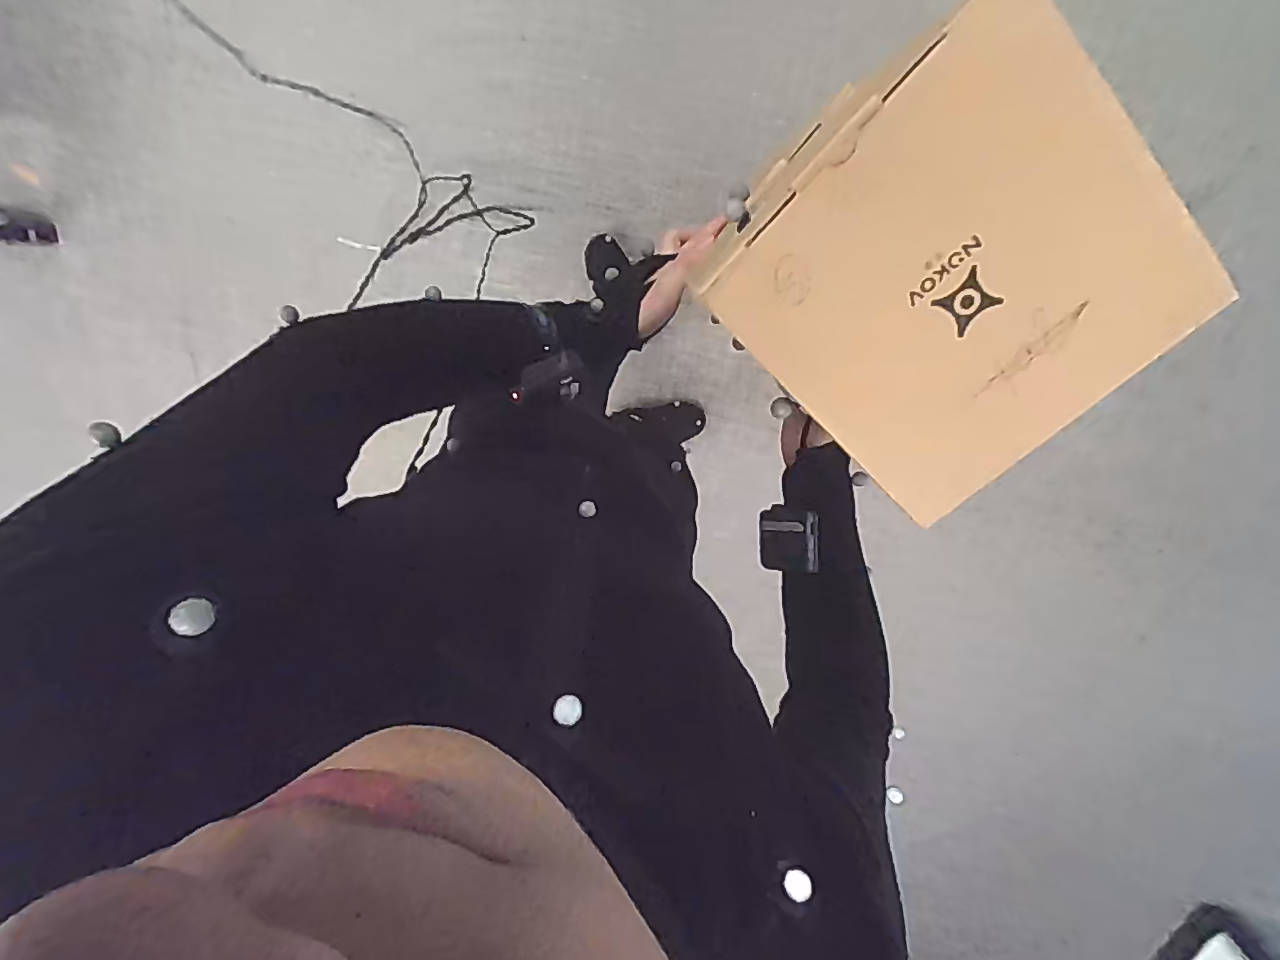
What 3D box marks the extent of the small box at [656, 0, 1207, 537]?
[{"bbox_3d":[0.124,-0.108,0.302,0.179,0.176,0.168,43,109,-16],"label":"small box"}]
